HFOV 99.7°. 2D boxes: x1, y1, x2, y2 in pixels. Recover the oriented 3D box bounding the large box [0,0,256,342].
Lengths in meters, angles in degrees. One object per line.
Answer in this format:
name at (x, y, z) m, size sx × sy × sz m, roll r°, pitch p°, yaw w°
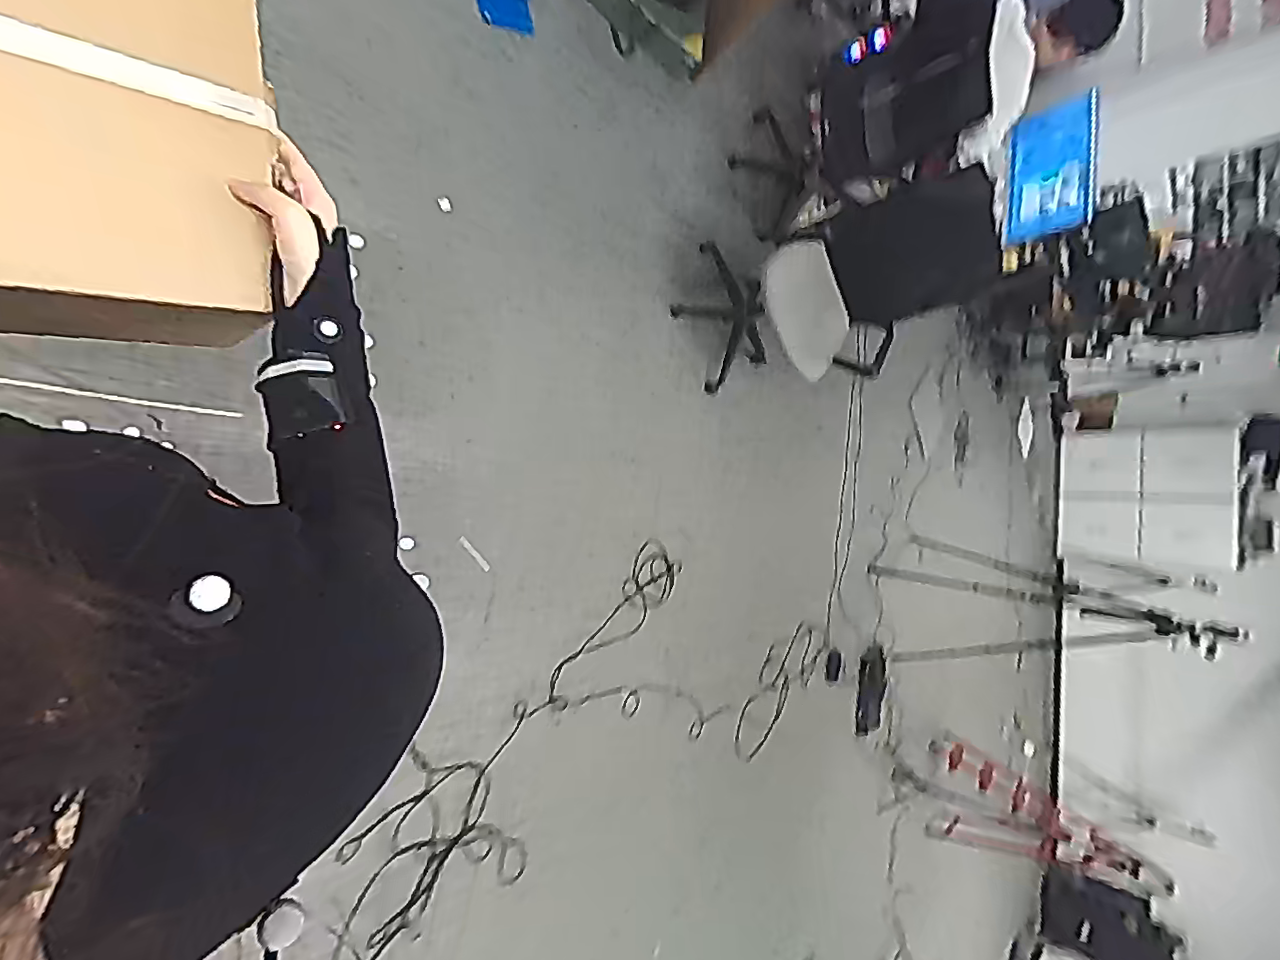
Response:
large box at (-0.570, -0.328, 0.427) m, size 0.408 × 0.320 × 0.320 m, roll 7°, pitch 104°, yaw -41°
